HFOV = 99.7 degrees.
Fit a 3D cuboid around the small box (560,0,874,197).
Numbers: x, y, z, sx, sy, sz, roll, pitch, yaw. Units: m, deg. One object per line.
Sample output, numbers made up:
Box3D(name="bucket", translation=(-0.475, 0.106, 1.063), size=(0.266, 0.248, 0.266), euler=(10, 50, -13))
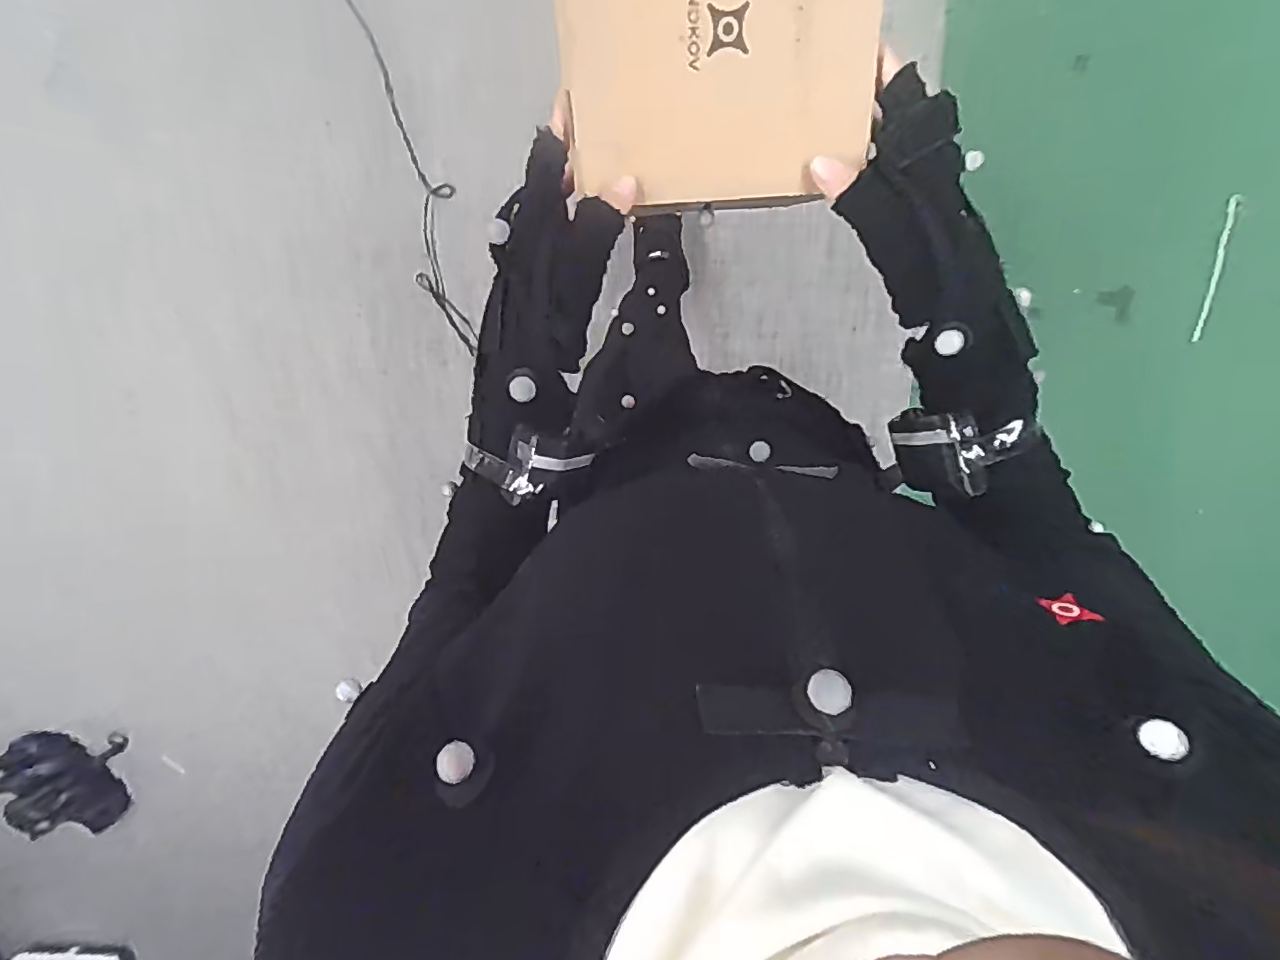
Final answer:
Box3D(name="small box", translation=(0.041, -0.295, 0.370), size=(0.179, 0.176, 0.168), euler=(-5, 115, 0))
